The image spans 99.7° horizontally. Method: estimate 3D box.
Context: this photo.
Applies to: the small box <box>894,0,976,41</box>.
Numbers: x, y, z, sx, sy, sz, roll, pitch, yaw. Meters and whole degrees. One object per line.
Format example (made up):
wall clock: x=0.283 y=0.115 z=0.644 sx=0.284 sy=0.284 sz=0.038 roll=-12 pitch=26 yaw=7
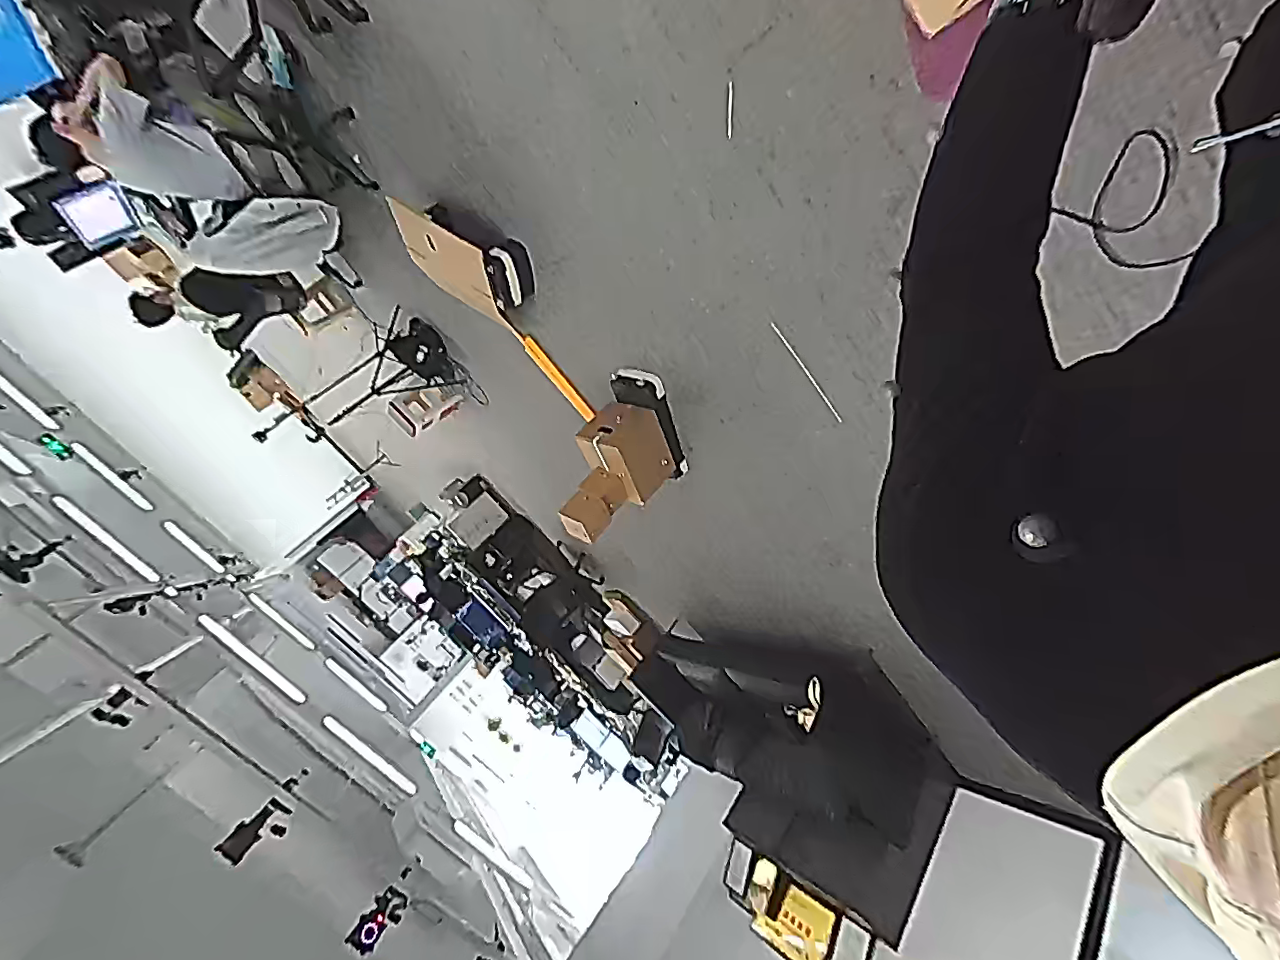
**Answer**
small box: x=0.305 y=-0.552 z=0.472 sx=0.179 sy=0.176 sz=0.168 roll=50 pitch=153 yaw=-10
